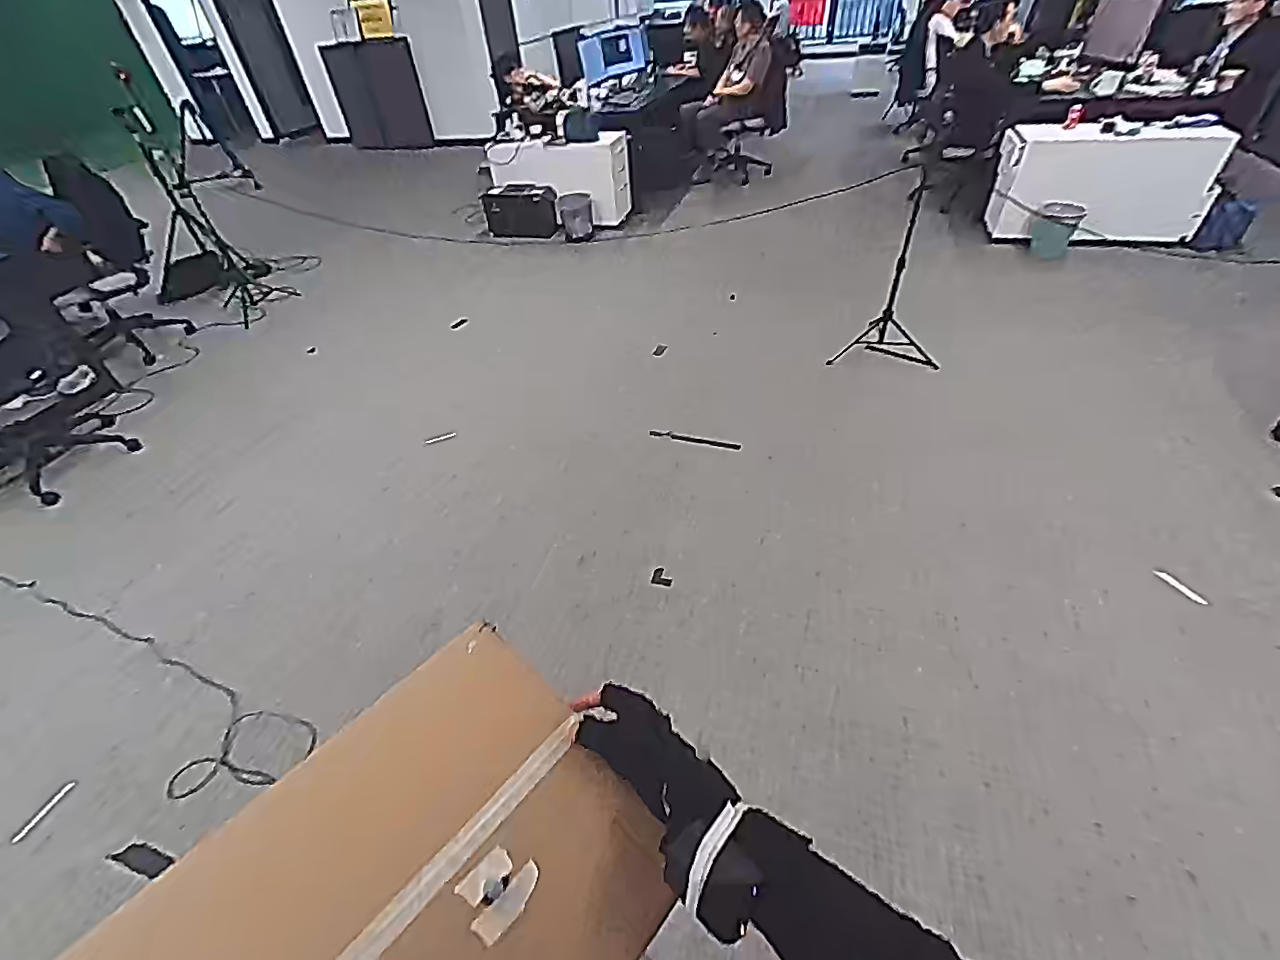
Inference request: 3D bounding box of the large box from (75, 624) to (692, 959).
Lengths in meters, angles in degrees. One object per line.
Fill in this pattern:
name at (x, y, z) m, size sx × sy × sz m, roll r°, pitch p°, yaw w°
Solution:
large box at (-0.203, 0.444, 0.552) m, size 0.320 × 0.320 × 0.408 m, roll 37°, pitch 56°, yaw 23°
